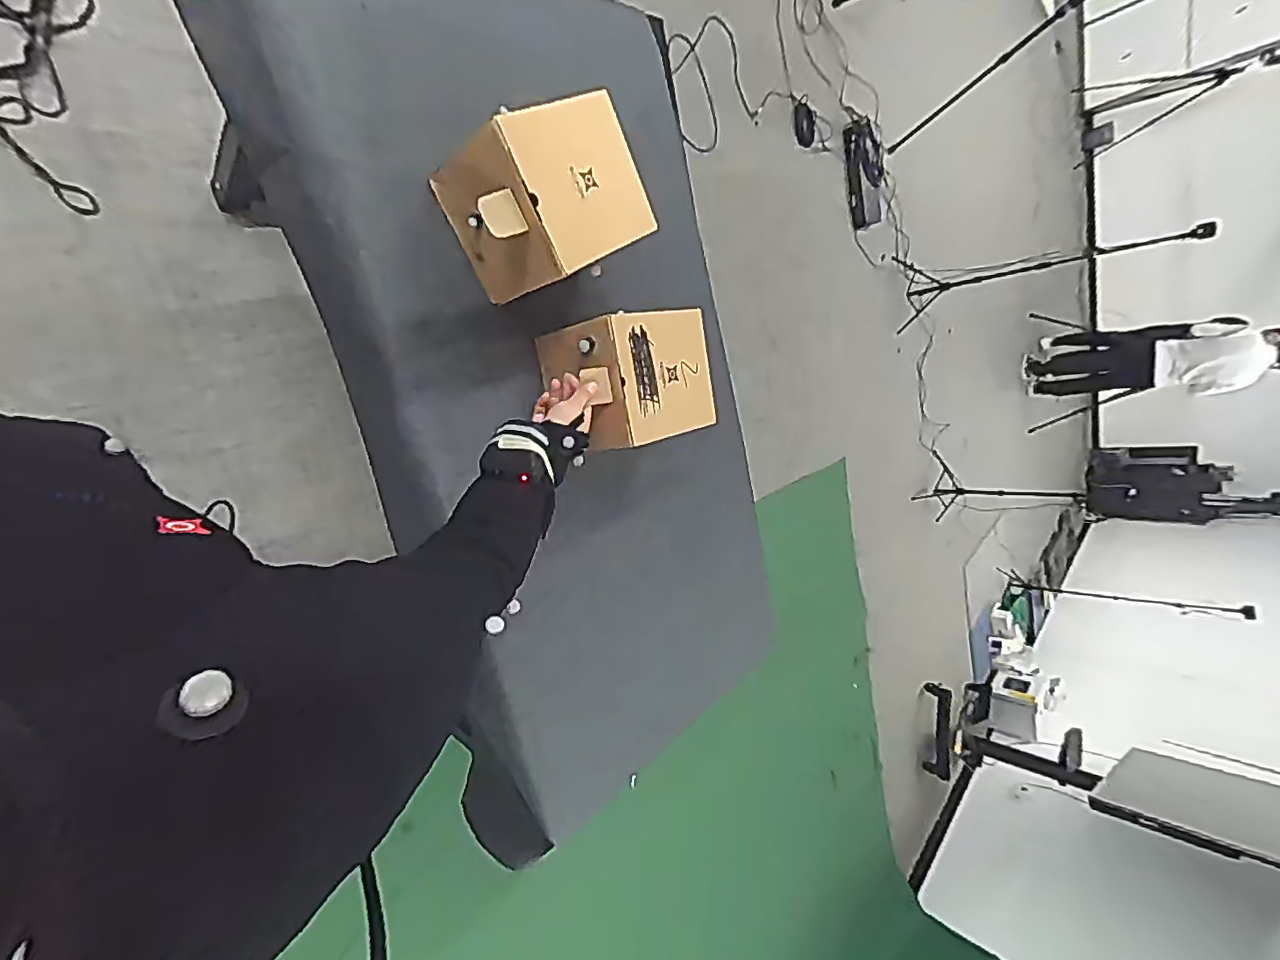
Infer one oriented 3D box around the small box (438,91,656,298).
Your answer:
[{"bbox_3d":[-0.116,-0.350,0.681,0.179,0.176,0.168,-42,119,-33],"label":"small box"}]
